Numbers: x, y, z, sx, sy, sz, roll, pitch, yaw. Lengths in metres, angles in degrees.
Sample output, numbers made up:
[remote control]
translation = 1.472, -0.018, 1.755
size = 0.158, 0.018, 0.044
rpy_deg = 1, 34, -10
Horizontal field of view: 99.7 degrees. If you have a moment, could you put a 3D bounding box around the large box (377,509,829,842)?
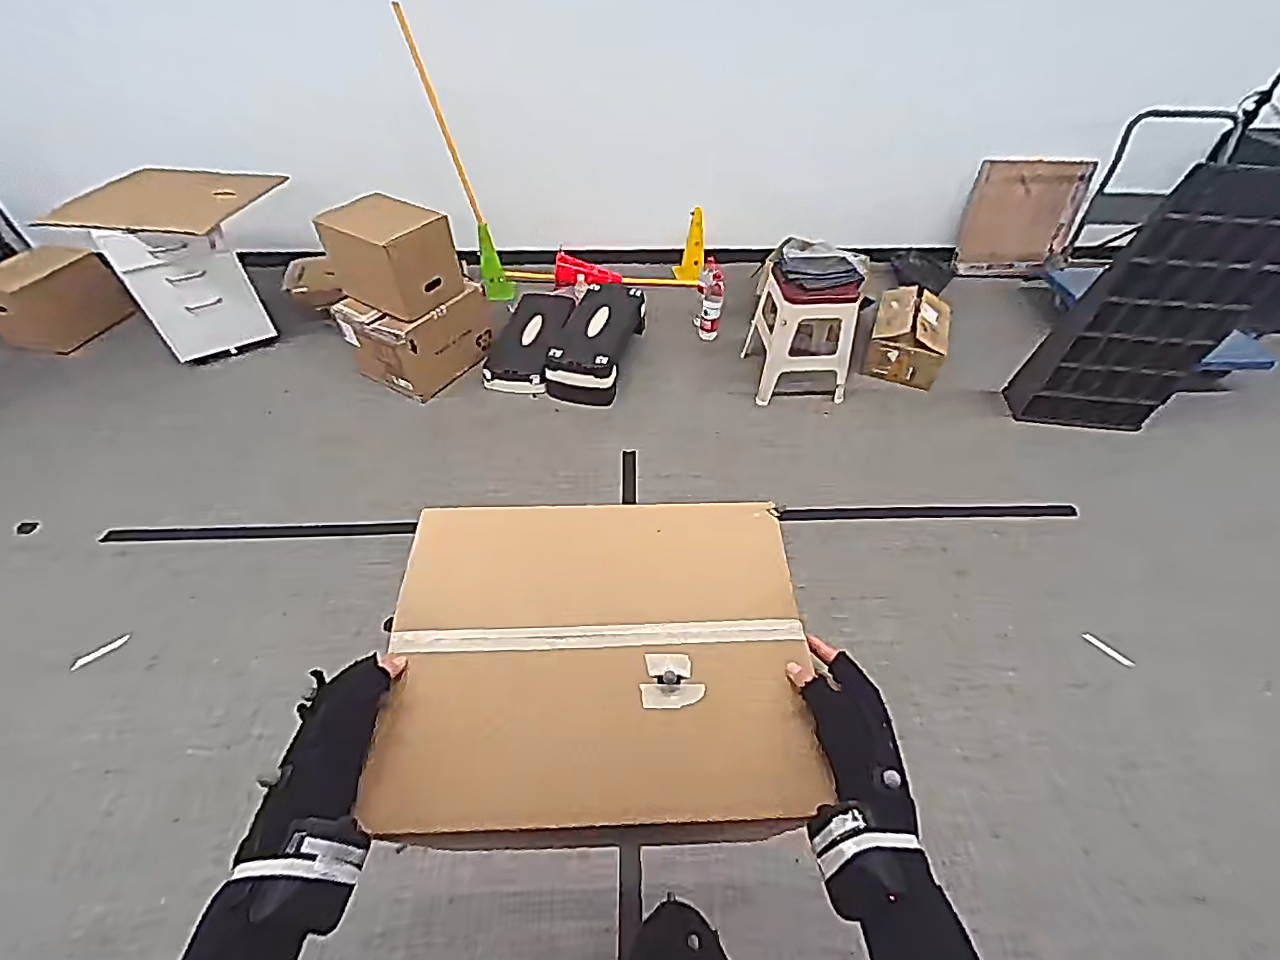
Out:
[large box]
translation = -0.040, 0.250, 0.675
size = 0.408, 0.320, 0.320
rpy_deg = 0, 54, -2
